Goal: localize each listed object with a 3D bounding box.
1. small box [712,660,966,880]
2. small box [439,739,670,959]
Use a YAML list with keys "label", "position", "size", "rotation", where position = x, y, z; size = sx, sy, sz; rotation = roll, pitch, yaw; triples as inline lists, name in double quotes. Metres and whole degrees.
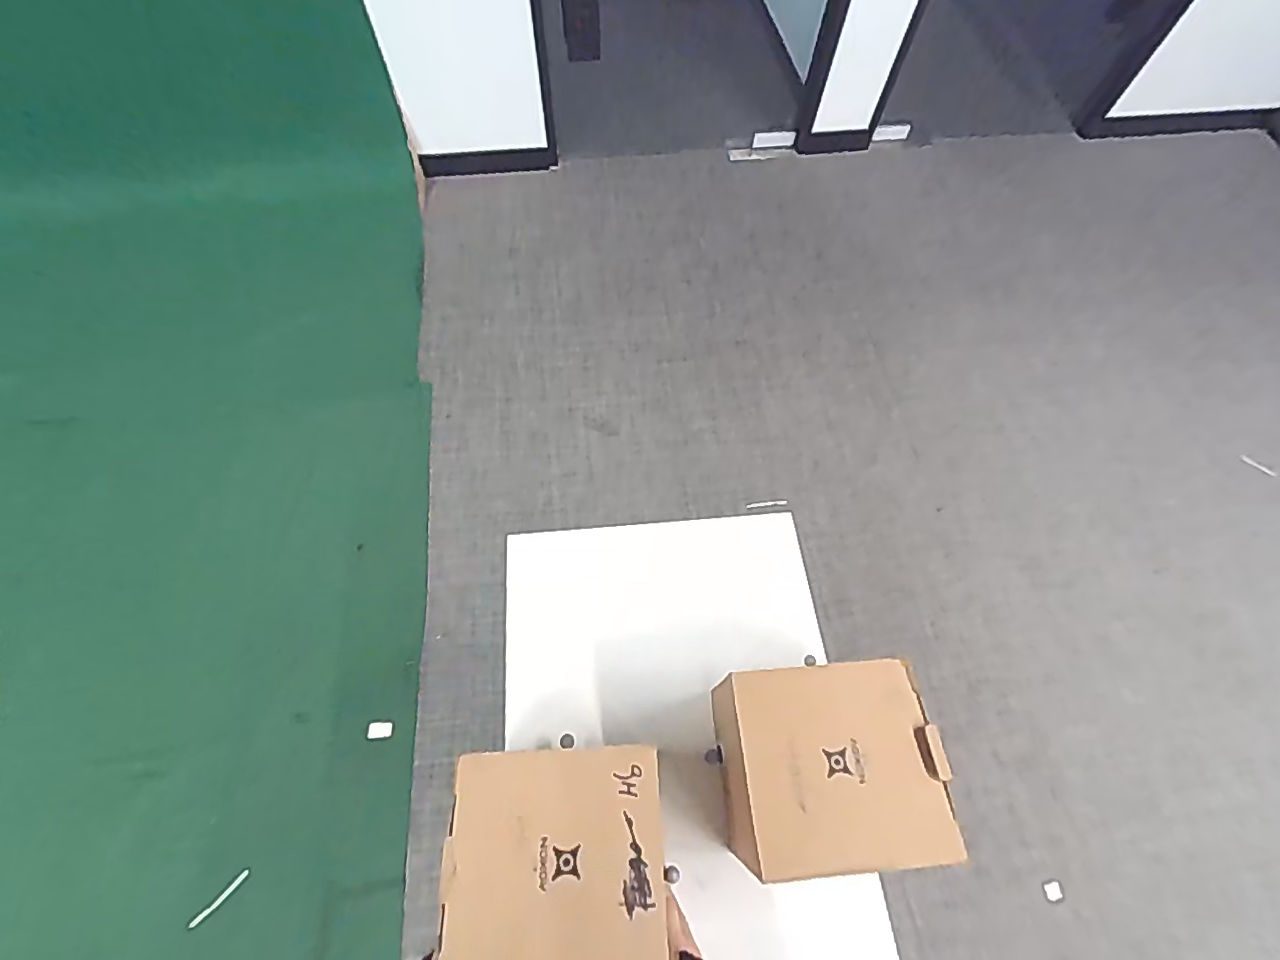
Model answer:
- label: "small box"
  position: [0.178, 0.282, 0.548]
  size: [0.179, 0.176, 0.168]
  rotation: [-4, 63, -2]
- label: "small box"
  position: [-0.069, 0.340, 0.506]
  size: [0.179, 0.176, 0.168]
  rotation: [-1, 63, -4]
